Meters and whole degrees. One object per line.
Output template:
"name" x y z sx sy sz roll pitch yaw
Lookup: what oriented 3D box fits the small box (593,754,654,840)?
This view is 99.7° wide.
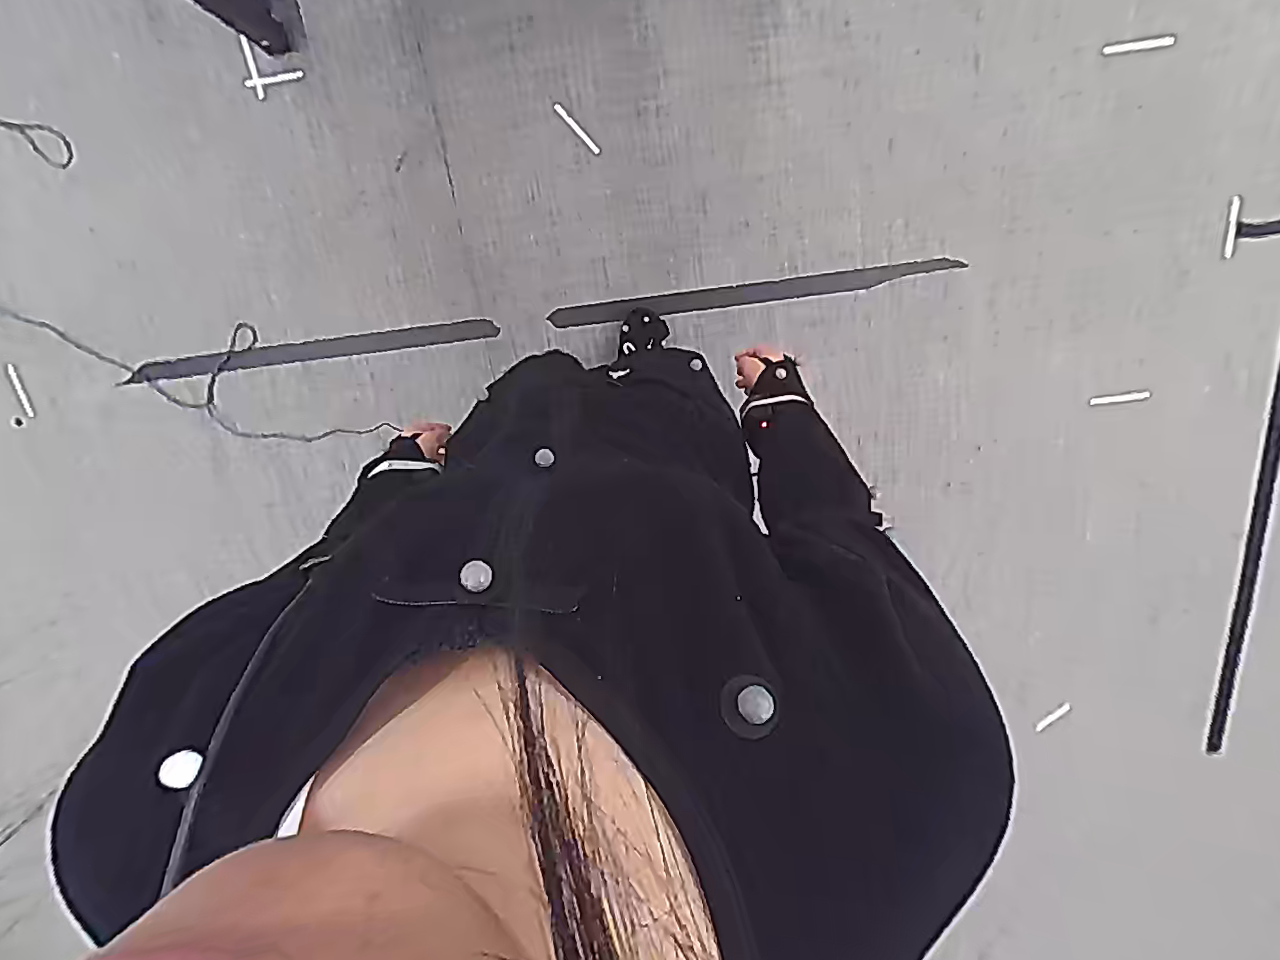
"small box" -0.048 0.991 1.707 0.168 0.176 0.179 -8 107 4
